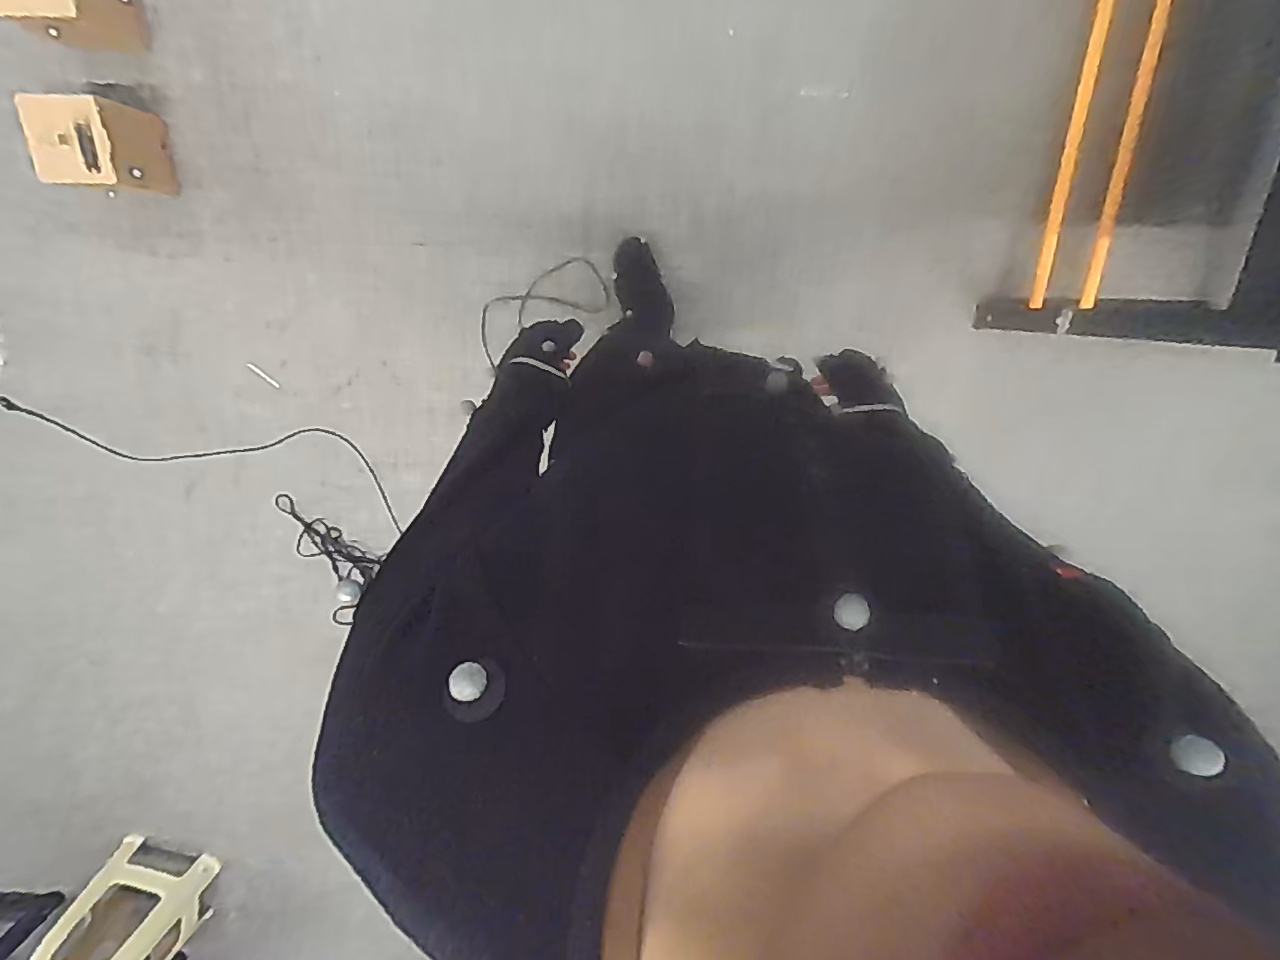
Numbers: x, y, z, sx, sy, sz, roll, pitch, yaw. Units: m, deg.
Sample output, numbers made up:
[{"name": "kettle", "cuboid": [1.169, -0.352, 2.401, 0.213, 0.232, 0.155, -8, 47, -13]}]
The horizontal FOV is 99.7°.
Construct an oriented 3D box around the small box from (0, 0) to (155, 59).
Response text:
[{"name": "small box", "cuboid": [-1.180, -1.008, 1.125, 0.179, 0.176, 0.168, 2, 108, 0]}]
